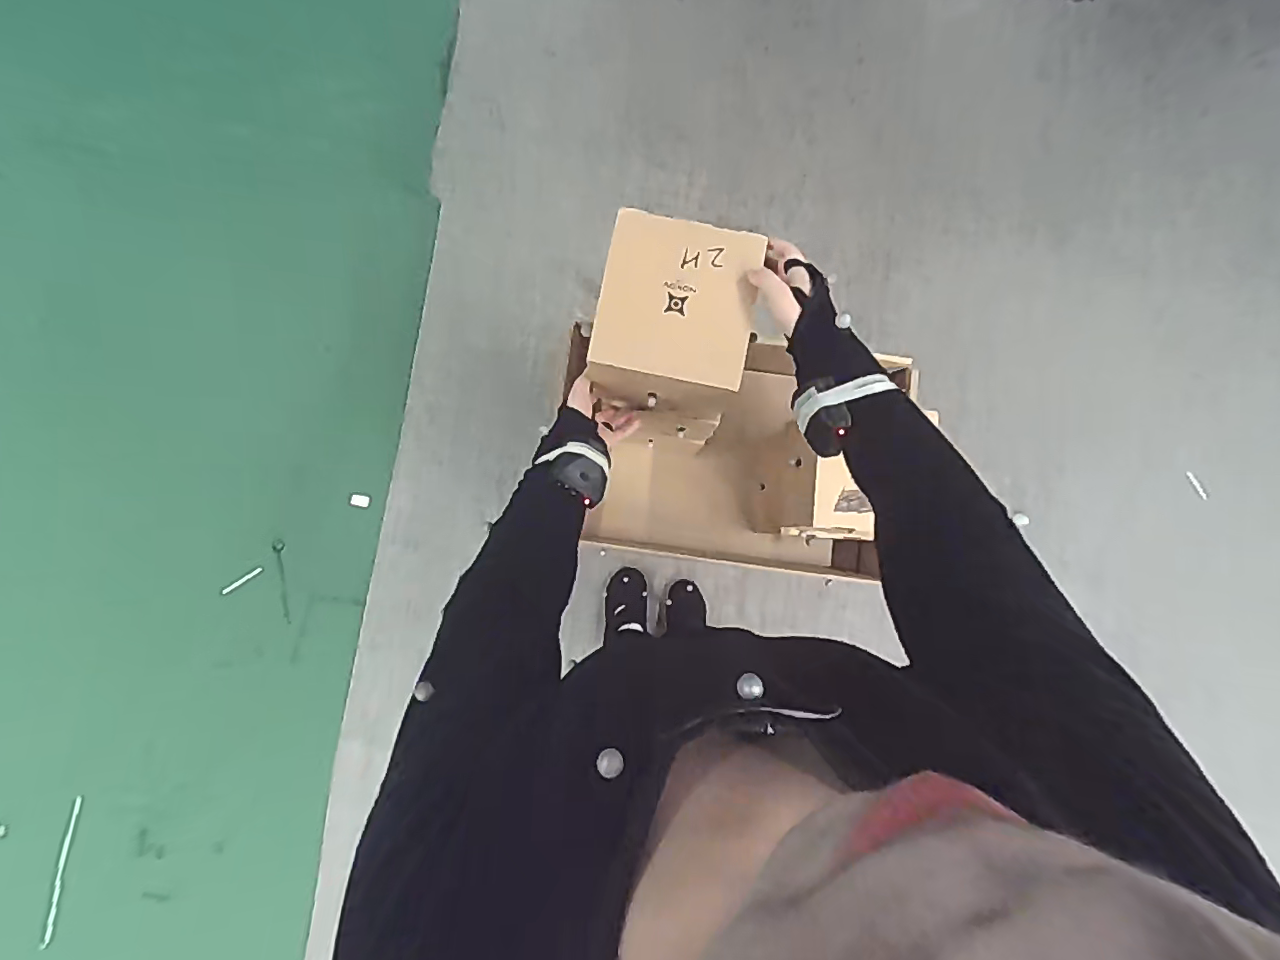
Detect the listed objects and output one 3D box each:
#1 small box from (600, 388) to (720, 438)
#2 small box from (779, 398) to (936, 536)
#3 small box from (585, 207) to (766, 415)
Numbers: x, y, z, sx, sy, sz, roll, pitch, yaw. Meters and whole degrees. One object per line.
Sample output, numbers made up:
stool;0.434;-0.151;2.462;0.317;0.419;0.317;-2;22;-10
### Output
small box;0.039;-0.169;0.816;0.168;0.176;0.179;10;85;-1
small box;0.313;-0.012;0.809;0.168;0.176;0.179;5;85;-1
small box;0.037;-0.187;0.653;0.168;0.176;0.179;12;86;-1
